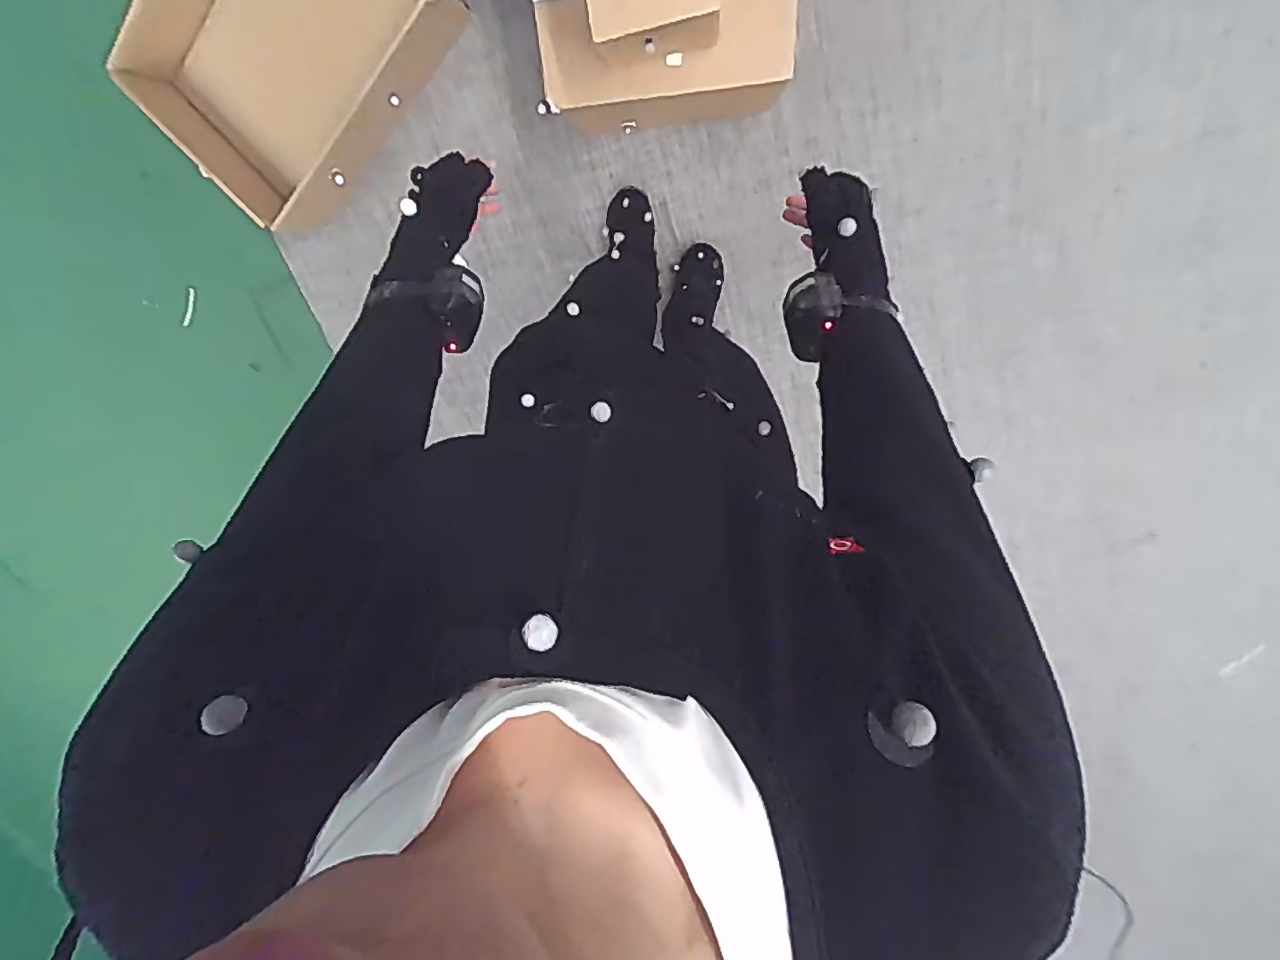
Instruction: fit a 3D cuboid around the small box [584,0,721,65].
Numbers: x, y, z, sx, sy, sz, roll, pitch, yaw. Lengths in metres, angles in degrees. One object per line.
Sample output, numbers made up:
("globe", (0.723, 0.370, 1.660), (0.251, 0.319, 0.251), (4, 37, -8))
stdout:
("small box", (0.016, -0.704, 0.745), (0.179, 0.176, 0.168), (-6, 117, 12))
